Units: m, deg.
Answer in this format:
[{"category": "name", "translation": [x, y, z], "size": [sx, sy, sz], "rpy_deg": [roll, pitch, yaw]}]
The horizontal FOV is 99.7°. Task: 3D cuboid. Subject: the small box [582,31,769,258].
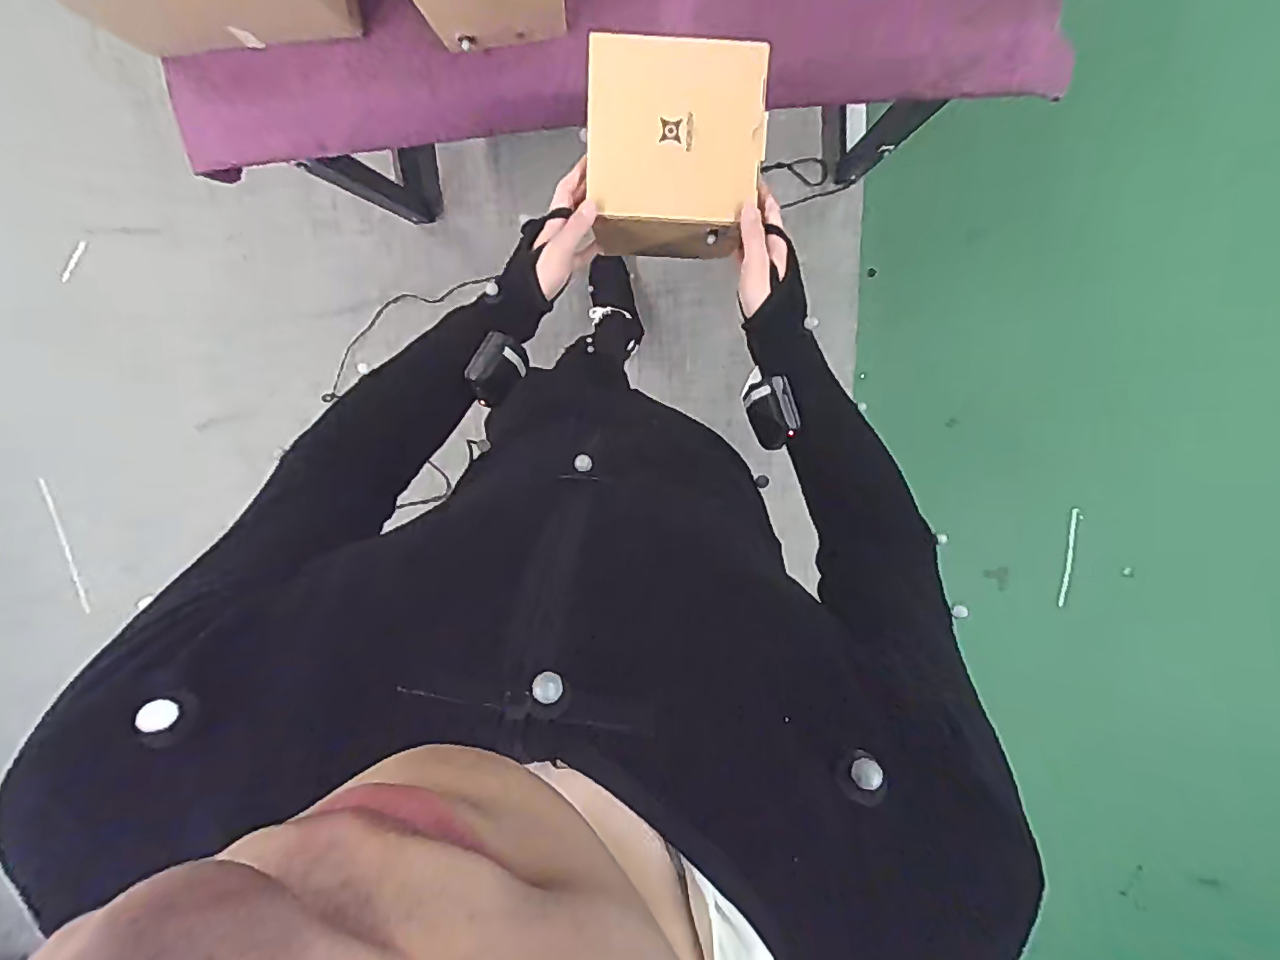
[{"category": "small box", "translation": [0.033, -0.357, 0.608], "size": [0.179, 0.176, 0.168], "rpy_deg": [3, 100, -1]}]
